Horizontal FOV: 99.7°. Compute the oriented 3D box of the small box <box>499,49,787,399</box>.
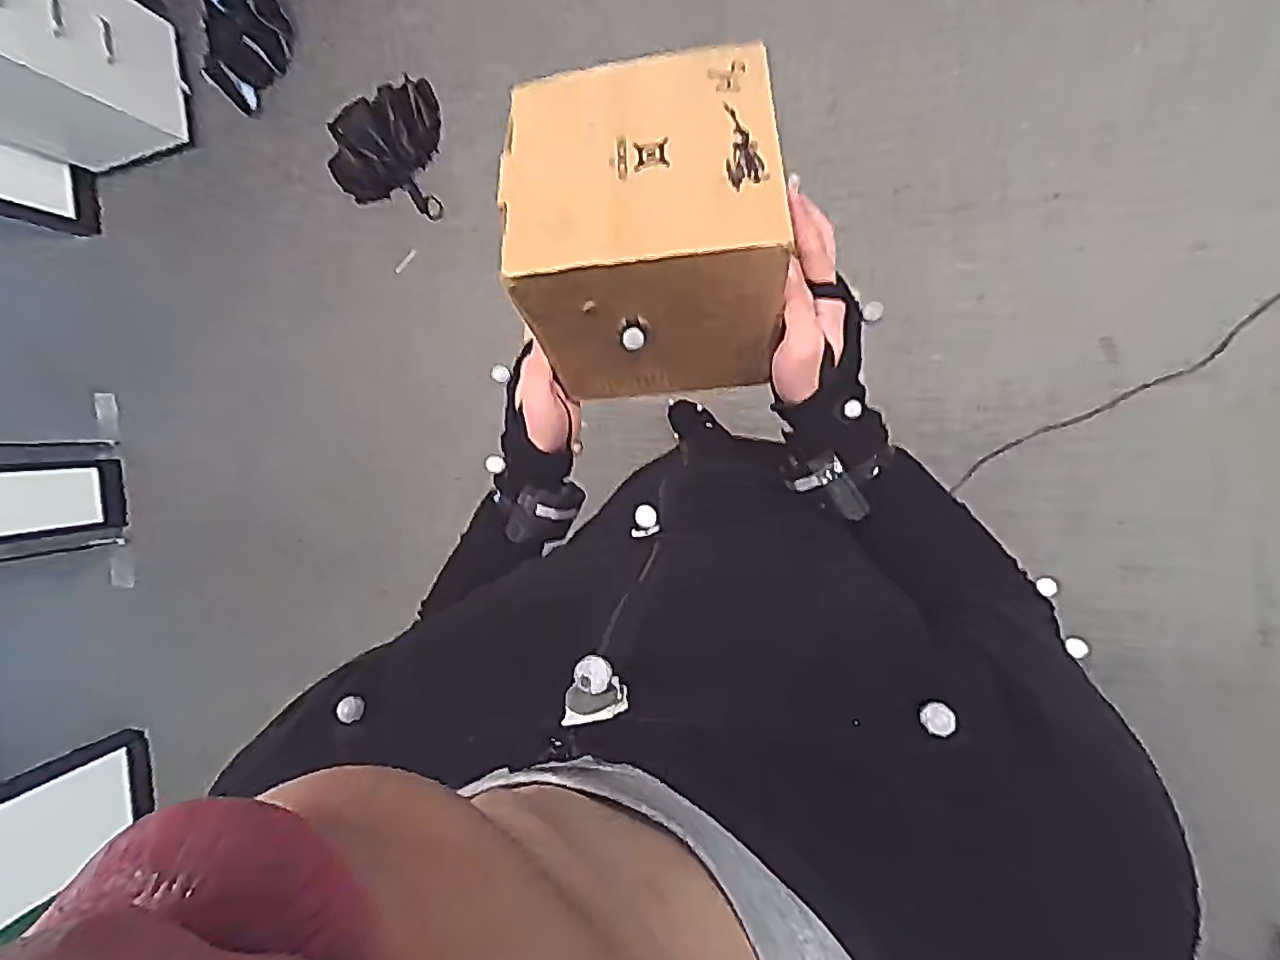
[{"bbox_3d":[0.011,-0.174,0.416,0.179,0.176,0.168,-4,71,8],"label":"small box"}]
